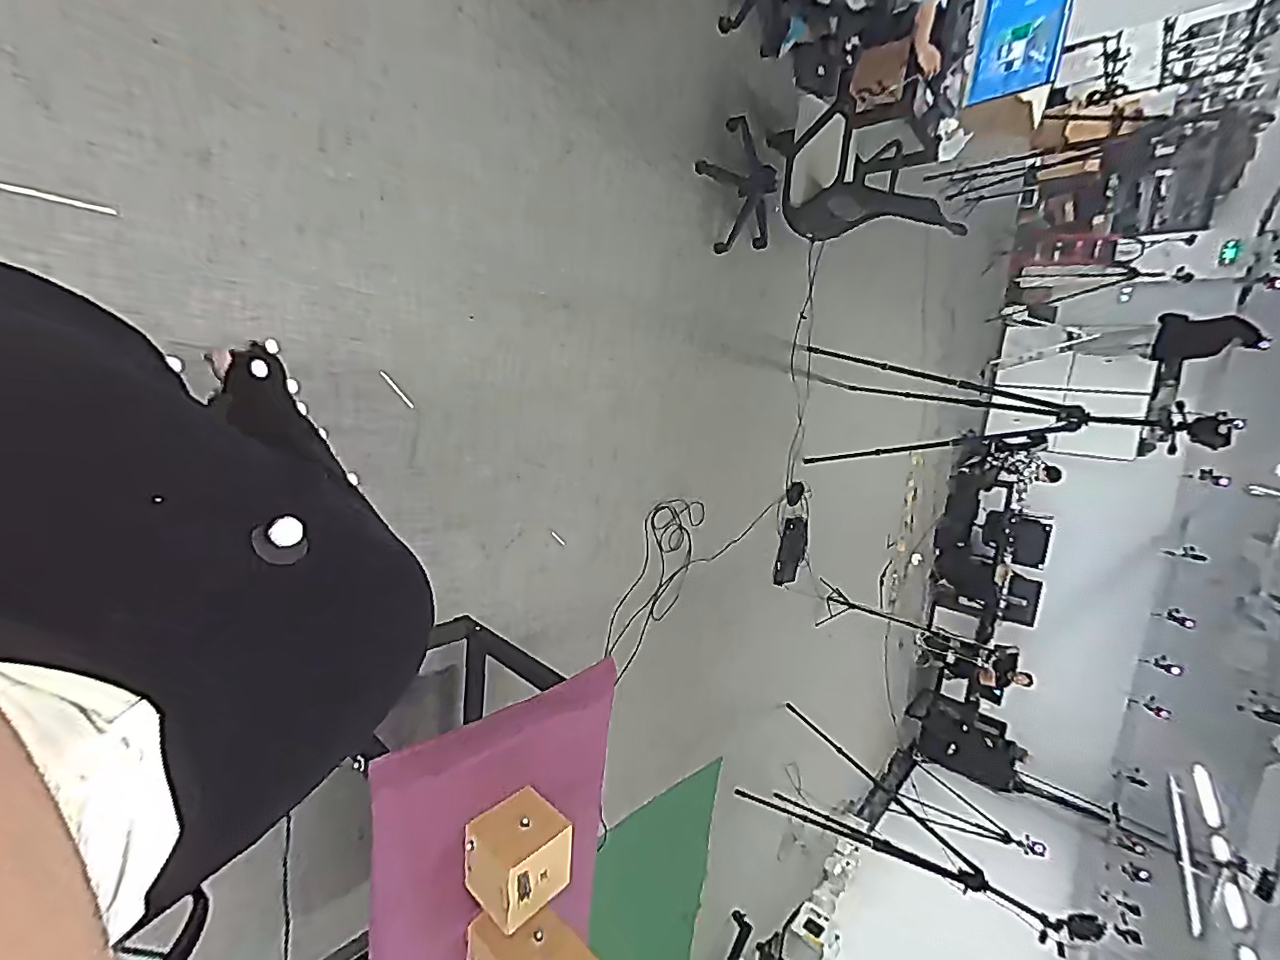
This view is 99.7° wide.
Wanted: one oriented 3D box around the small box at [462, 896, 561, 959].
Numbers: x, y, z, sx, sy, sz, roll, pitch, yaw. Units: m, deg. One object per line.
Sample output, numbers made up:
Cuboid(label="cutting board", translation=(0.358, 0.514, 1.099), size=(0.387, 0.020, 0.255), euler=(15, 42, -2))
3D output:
Cuboid(label="small box", translation=(-0.311, 1.113, 1.298), size=(0.168, 0.176, 0.179), euler=(-8, 107, -48))

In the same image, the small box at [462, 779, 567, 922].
Cuboid(label="small box", translation=(-0.290, 0.836, 1.241), size=(0.179, 0.176, 0.168), euler=(-8, 107, -48))

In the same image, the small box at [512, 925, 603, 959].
Cuboid(label="small box", translation=(-0.190, 1.140, 1.192), size=(0.168, 0.176, 0.179), euler=(-8, 106, -47))
